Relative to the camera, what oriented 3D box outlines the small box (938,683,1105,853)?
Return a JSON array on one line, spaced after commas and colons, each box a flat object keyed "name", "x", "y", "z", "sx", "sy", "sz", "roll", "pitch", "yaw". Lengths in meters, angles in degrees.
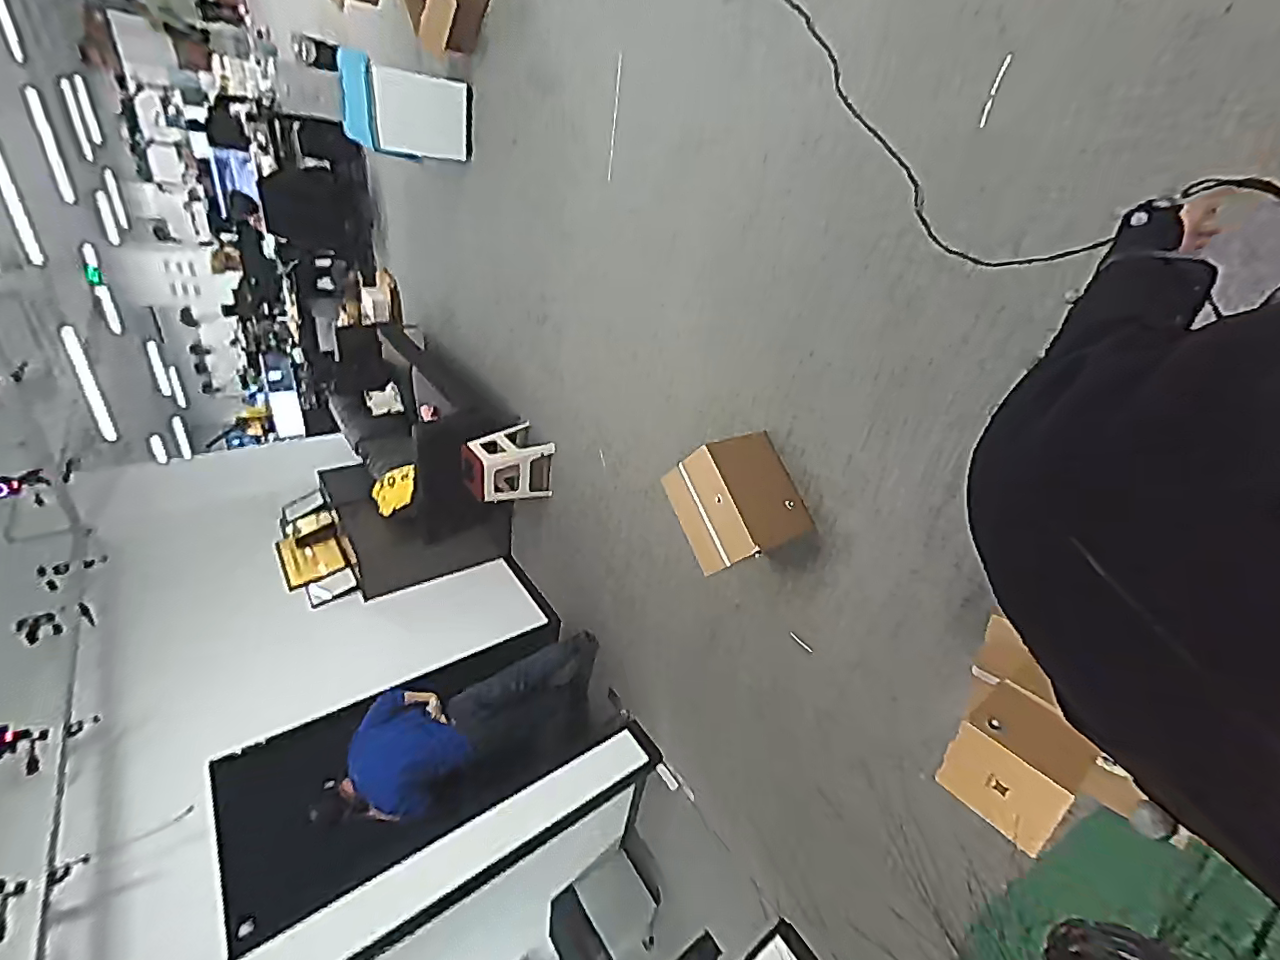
[{"name": "small box", "x": 0.683, "y": 0.502, "z": 0.970, "sx": 0.179, "sy": 0.176, "sz": 0.168, "roll": 33, "pitch": 127, "yaw": 44}]
